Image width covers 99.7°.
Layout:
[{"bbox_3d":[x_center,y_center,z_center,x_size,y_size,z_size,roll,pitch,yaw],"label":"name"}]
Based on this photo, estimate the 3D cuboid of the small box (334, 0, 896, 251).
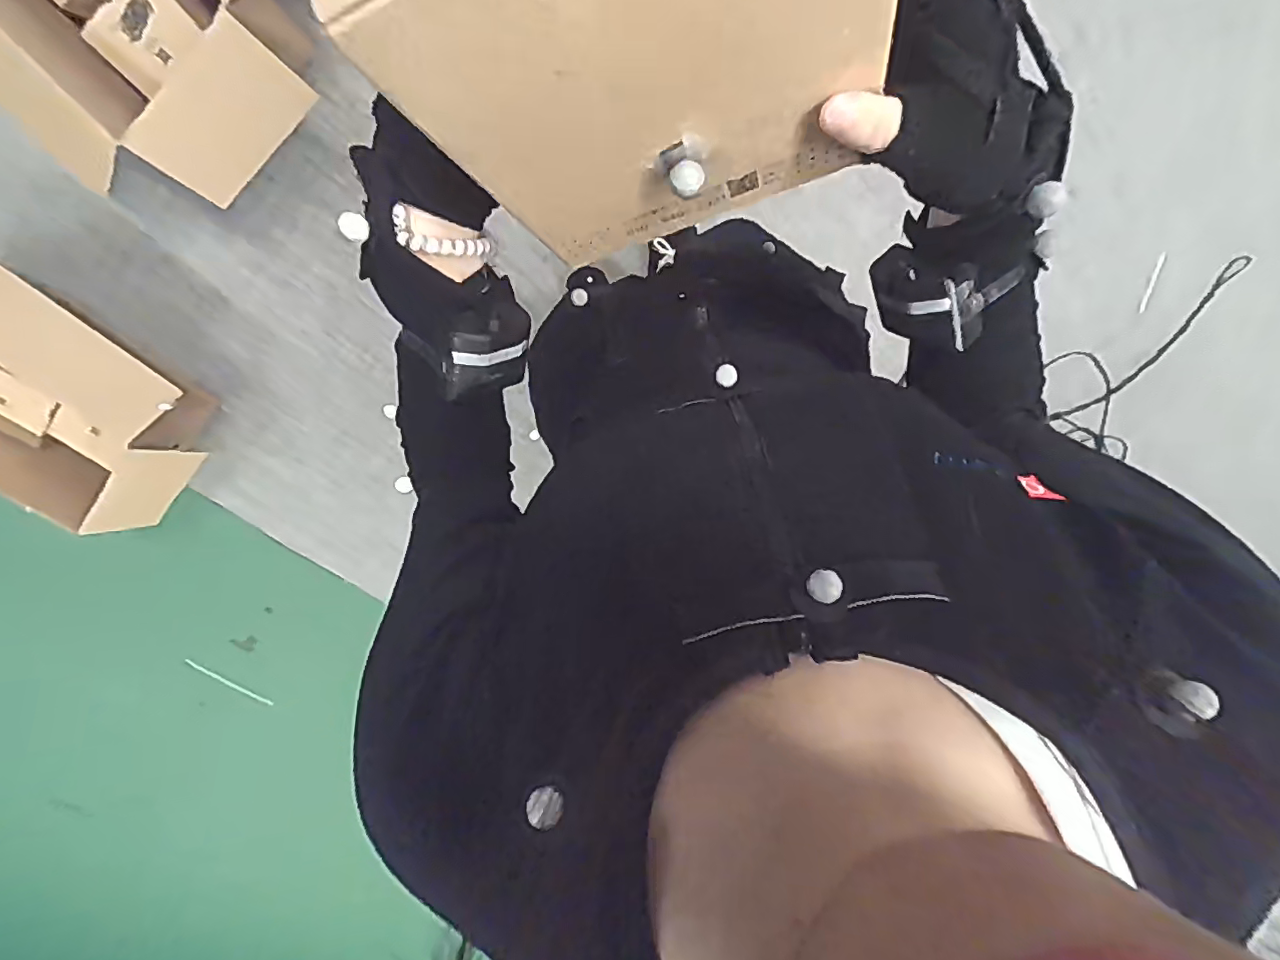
[{"bbox_3d":[-0.004,-0.227,0.213,0.168,0.176,0.179,-12,84,18],"label":"small box"}]
